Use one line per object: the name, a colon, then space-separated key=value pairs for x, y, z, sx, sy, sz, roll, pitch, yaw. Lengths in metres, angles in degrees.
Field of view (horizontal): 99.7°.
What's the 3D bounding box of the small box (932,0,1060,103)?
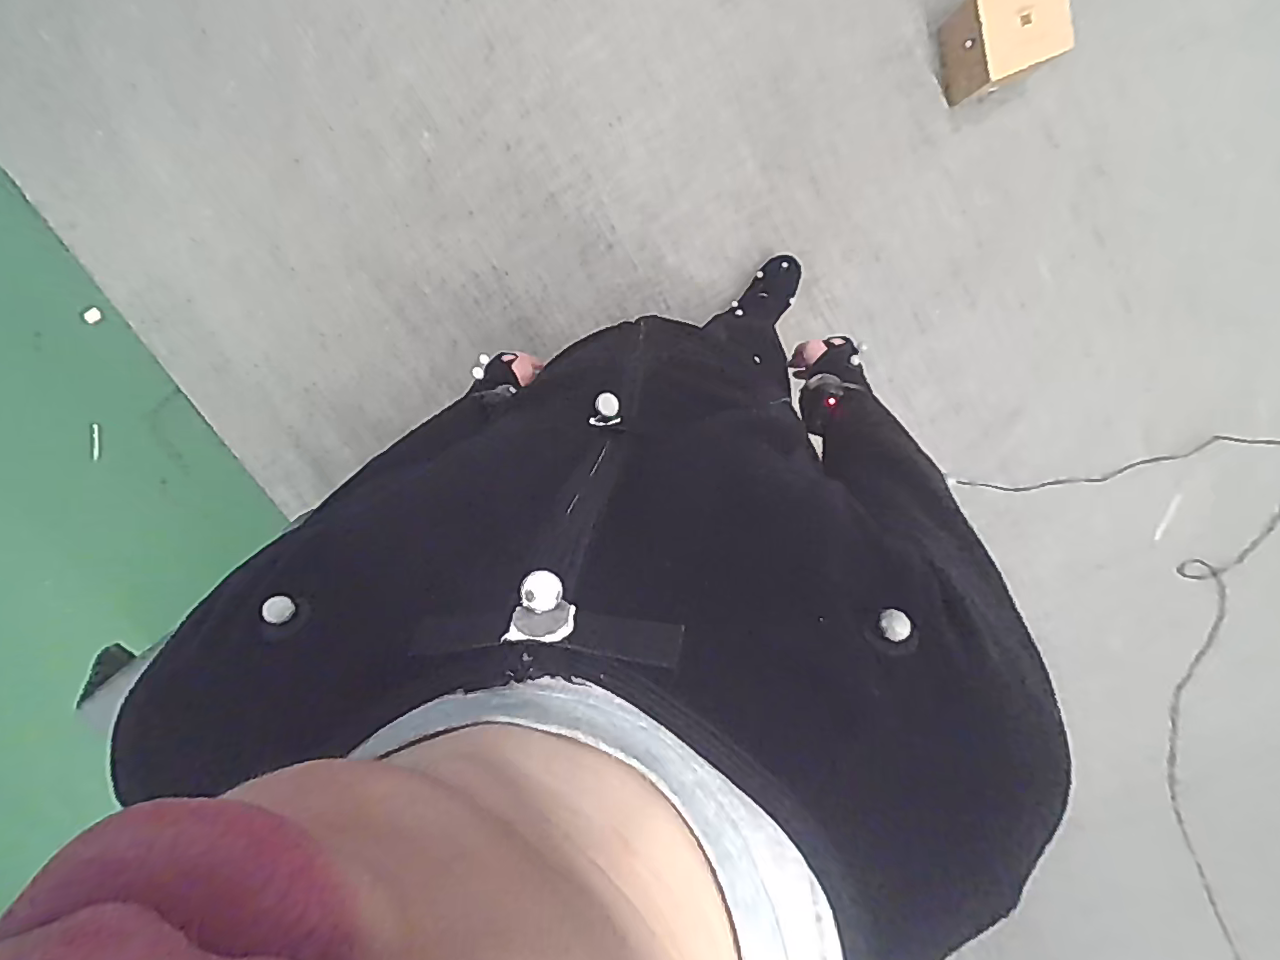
small box: x=0.764 y=-0.970 z=1.176 sx=0.168 sy=0.176 sz=0.179 roll=-18 pitch=108 yaw=9
